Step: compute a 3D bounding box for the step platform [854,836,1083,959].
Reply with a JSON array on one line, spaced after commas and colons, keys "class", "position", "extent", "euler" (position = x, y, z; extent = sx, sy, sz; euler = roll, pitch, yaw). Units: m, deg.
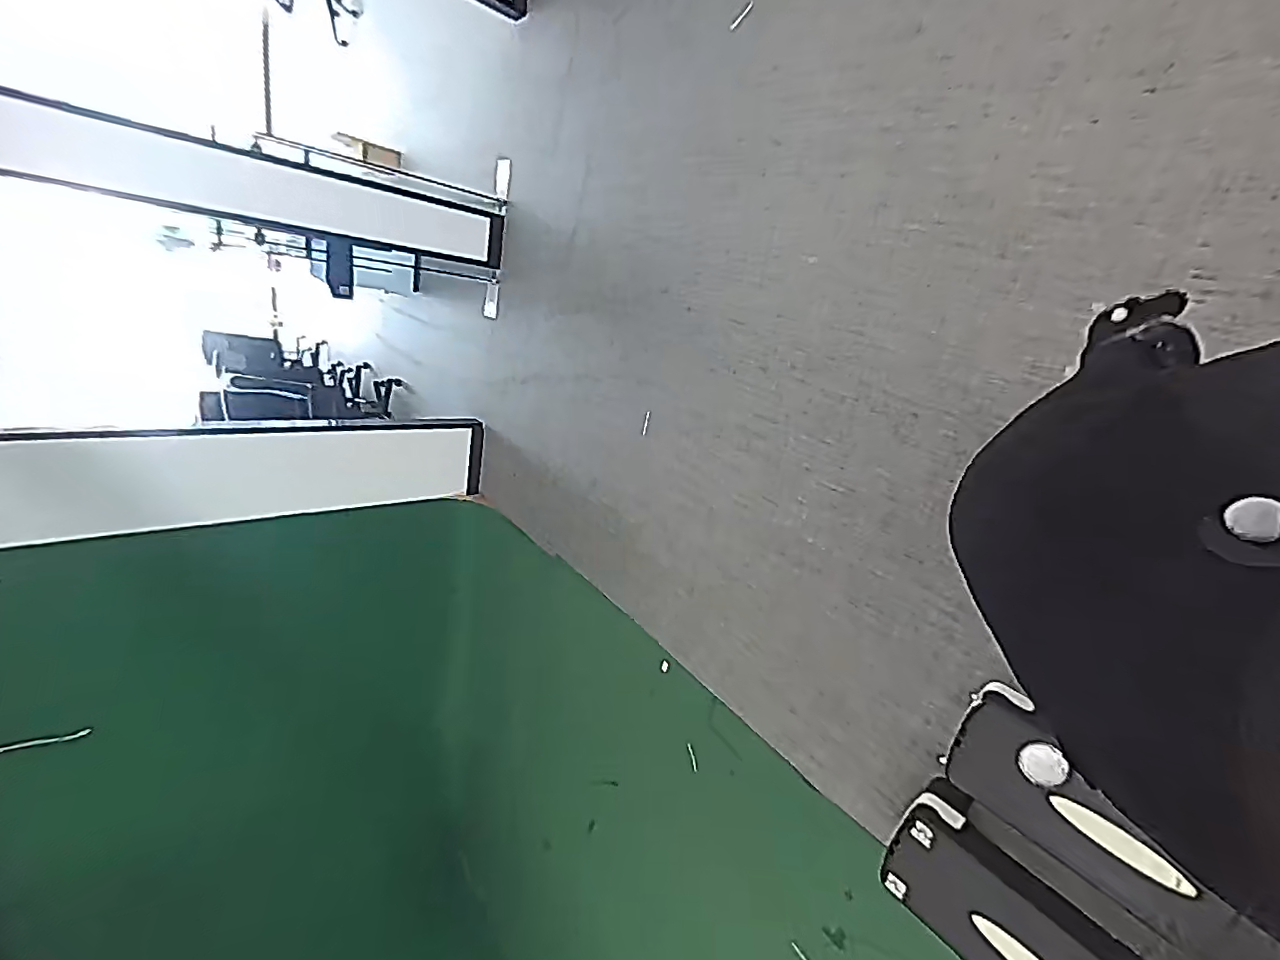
[{"class": "step platform", "position": [0.816, 1.112, 1.107], "extent": [0.684, 0.204, 0.286], "euler": [30, 116, 41]}]
